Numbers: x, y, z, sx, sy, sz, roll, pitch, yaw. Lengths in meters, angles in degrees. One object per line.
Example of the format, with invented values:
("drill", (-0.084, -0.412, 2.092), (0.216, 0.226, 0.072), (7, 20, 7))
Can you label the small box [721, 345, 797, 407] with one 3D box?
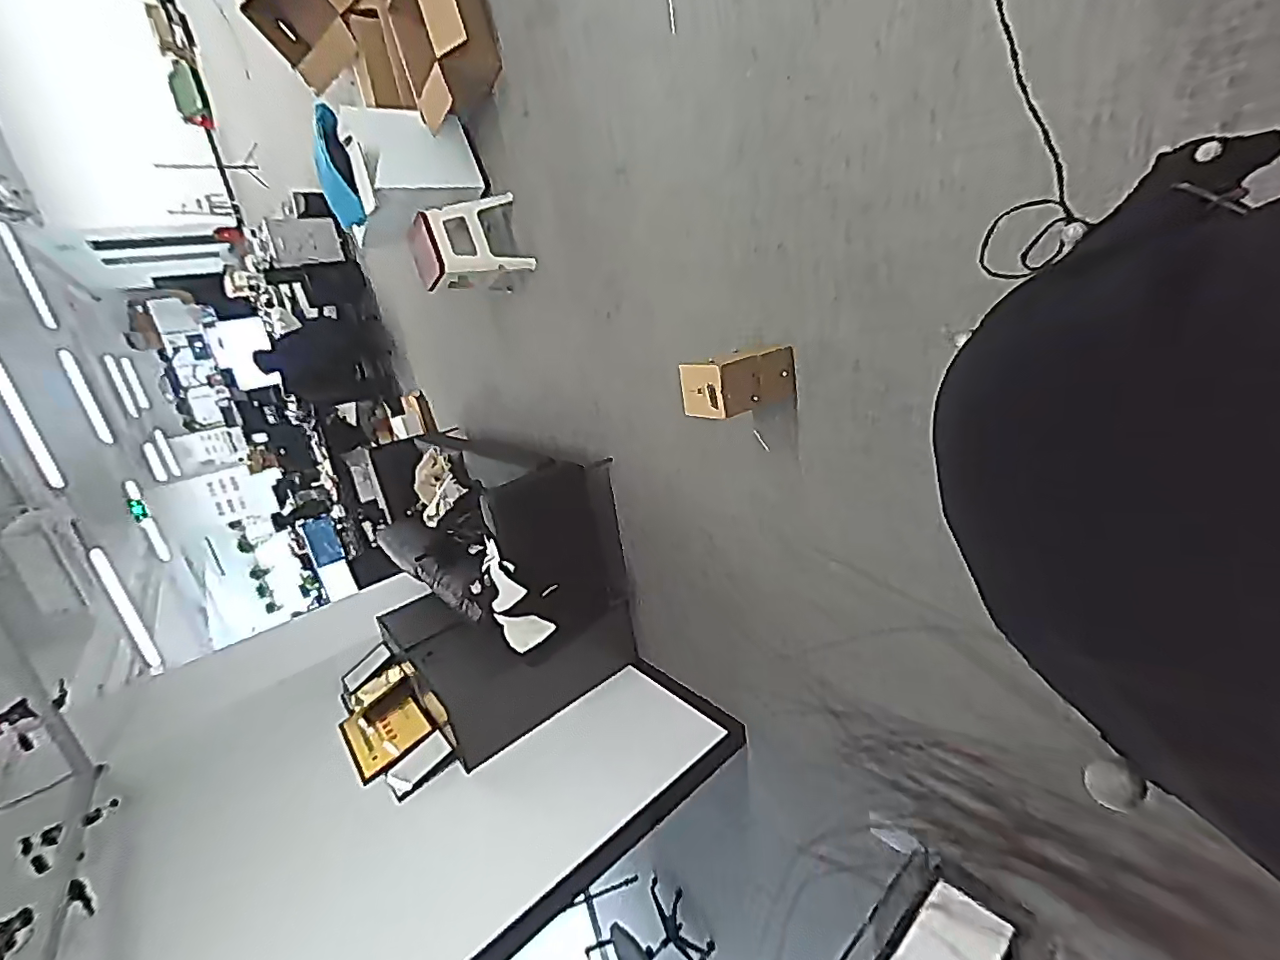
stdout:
("small box", (0.393, -0.347, 1.781), (0.179, 0.176, 0.168), (15, 121, 49))
